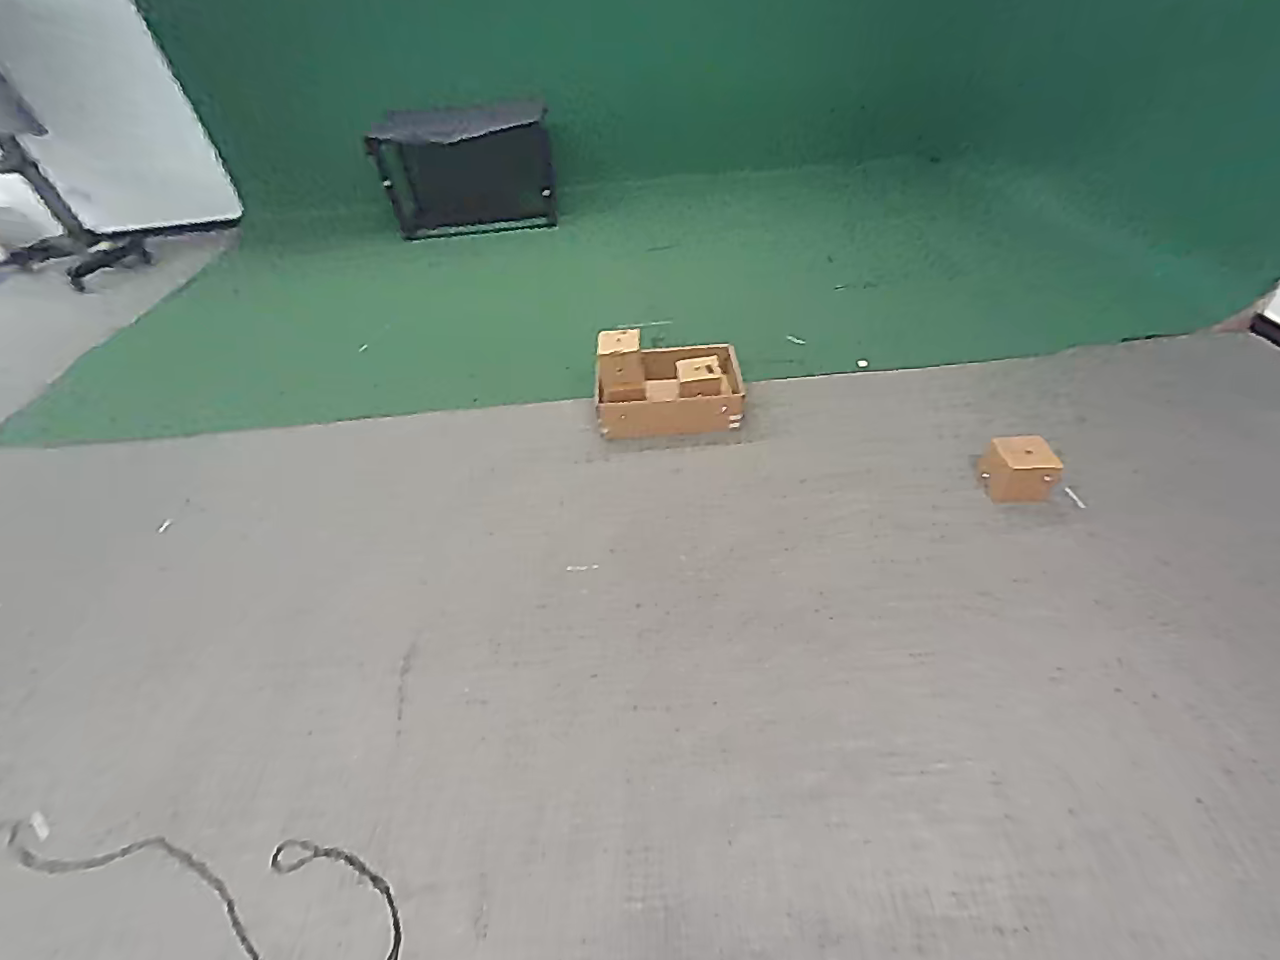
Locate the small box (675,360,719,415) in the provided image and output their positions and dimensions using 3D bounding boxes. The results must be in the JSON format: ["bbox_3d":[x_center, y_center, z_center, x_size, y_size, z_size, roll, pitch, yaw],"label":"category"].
[{"bbox_3d":[0.244,-0.398,2.343,0.179,0.176,0.168,-5,45,2],"label":"small box"}]

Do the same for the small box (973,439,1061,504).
[{"bbox_3d":[1.333,-0.028,1.924,0.179,0.176,0.168,-2,44,4],"label":"small box"}]

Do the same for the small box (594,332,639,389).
[{"bbox_3d":[-0.091,-0.487,2.236,0.168,0.176,0.179,-3,45,3],"label":"small box"}]
